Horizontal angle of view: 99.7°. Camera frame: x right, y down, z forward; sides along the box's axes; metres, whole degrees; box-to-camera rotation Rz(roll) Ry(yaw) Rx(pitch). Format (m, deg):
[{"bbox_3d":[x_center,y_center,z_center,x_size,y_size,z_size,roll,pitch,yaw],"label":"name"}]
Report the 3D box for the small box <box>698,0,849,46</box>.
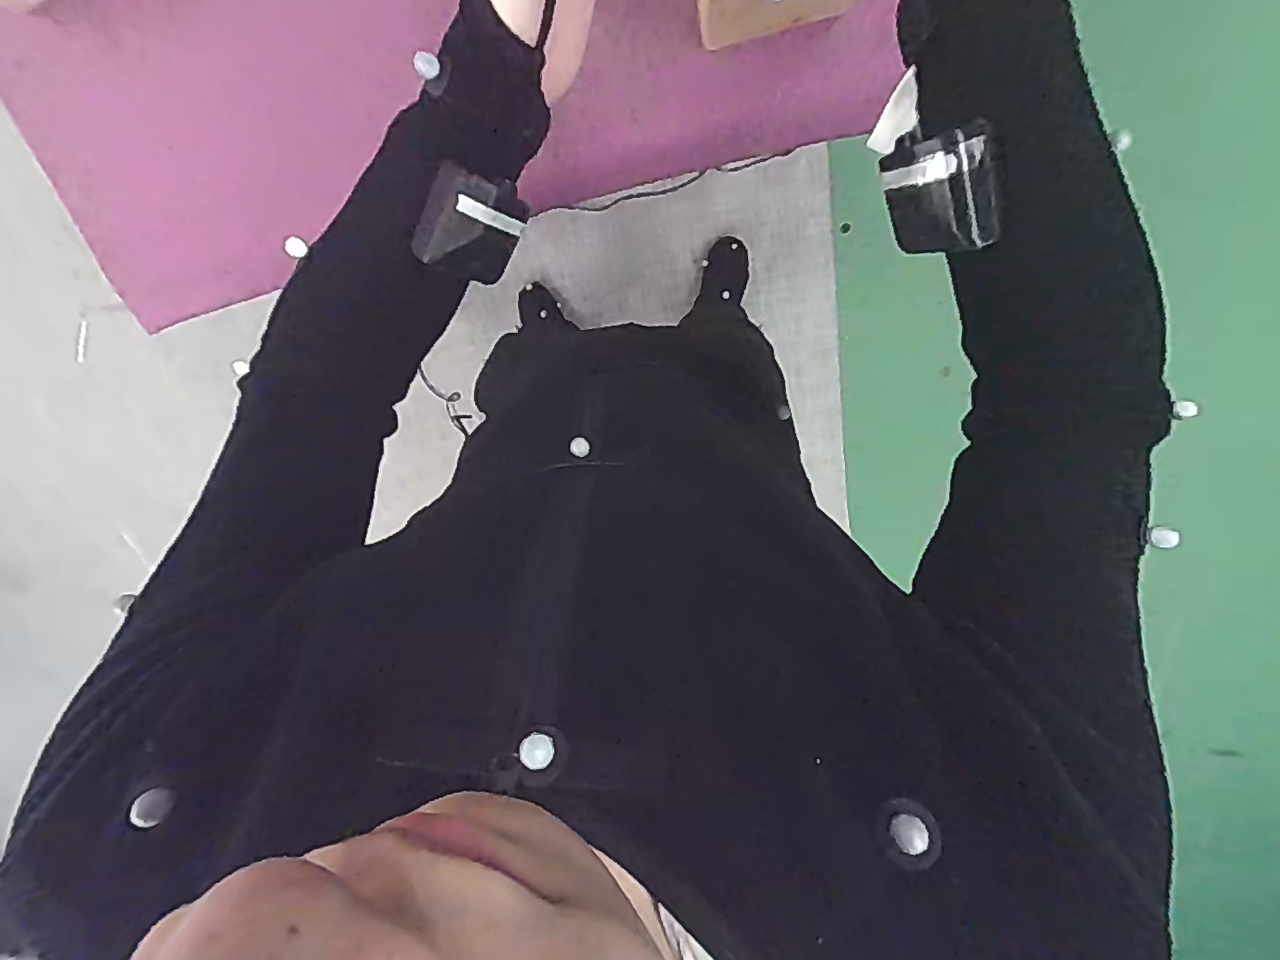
[{"bbox_3d":[0.130,-0.562,0.515,0.168,0.176,0.179,-8,113,10],"label":"small box"}]
